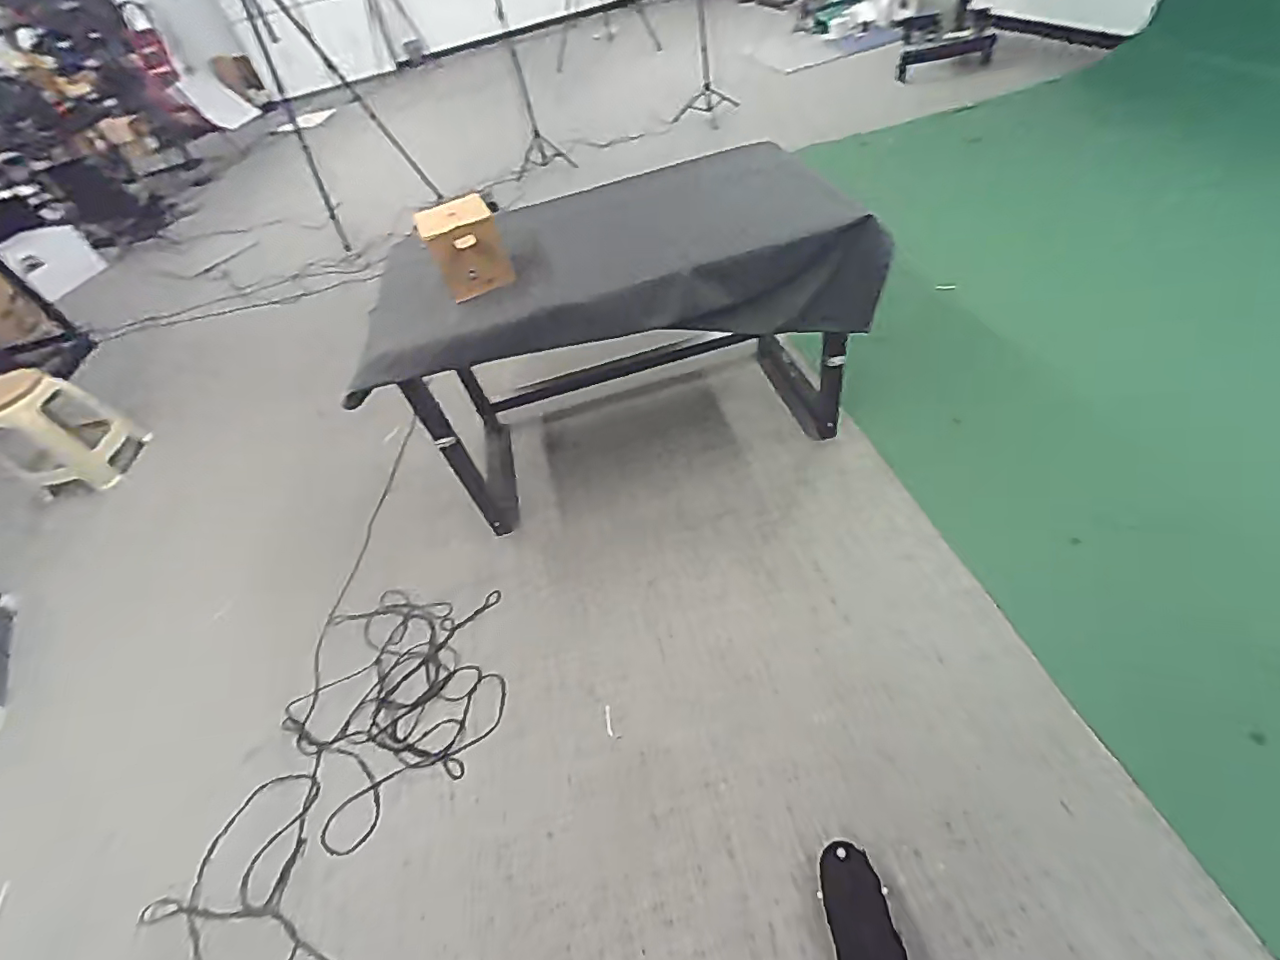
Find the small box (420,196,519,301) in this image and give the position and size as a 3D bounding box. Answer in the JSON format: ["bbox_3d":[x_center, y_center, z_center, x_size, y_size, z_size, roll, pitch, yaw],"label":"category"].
[{"bbox_3d":[-0.420,-0.572,1.340,0.168,0.176,0.179,-24,48,-9],"label":"small box"}]
